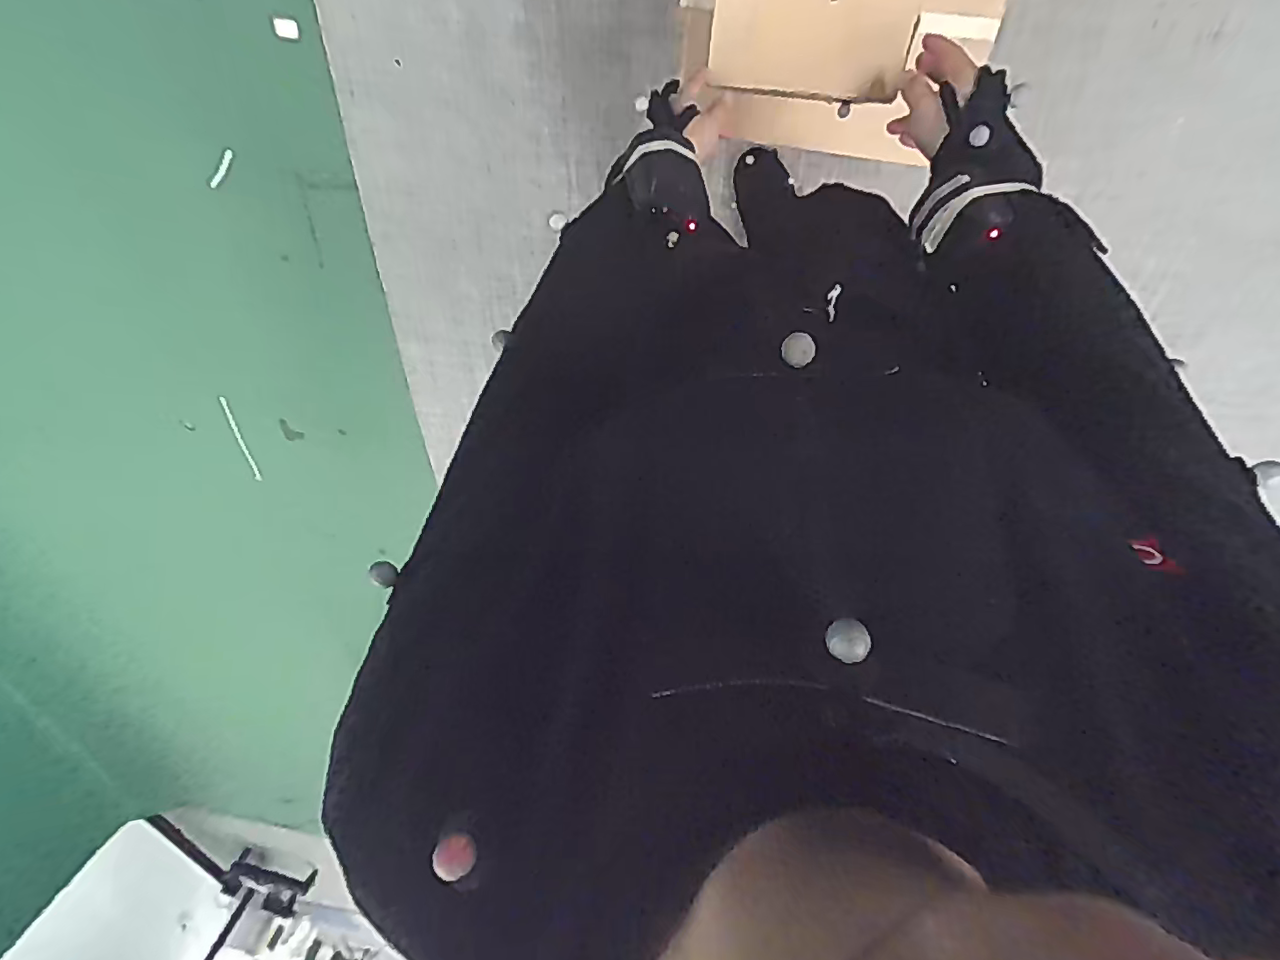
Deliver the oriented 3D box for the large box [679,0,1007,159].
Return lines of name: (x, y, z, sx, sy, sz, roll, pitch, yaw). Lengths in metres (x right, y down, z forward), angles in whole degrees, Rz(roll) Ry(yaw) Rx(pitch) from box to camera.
large box: (0.285, -0.700, 0.828, 0.408, 0.320, 0.320, 10, 126, 4)

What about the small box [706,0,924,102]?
small box: (0.164, -0.466, 0.512, 0.179, 0.176, 0.168, 8, 125, 5)
